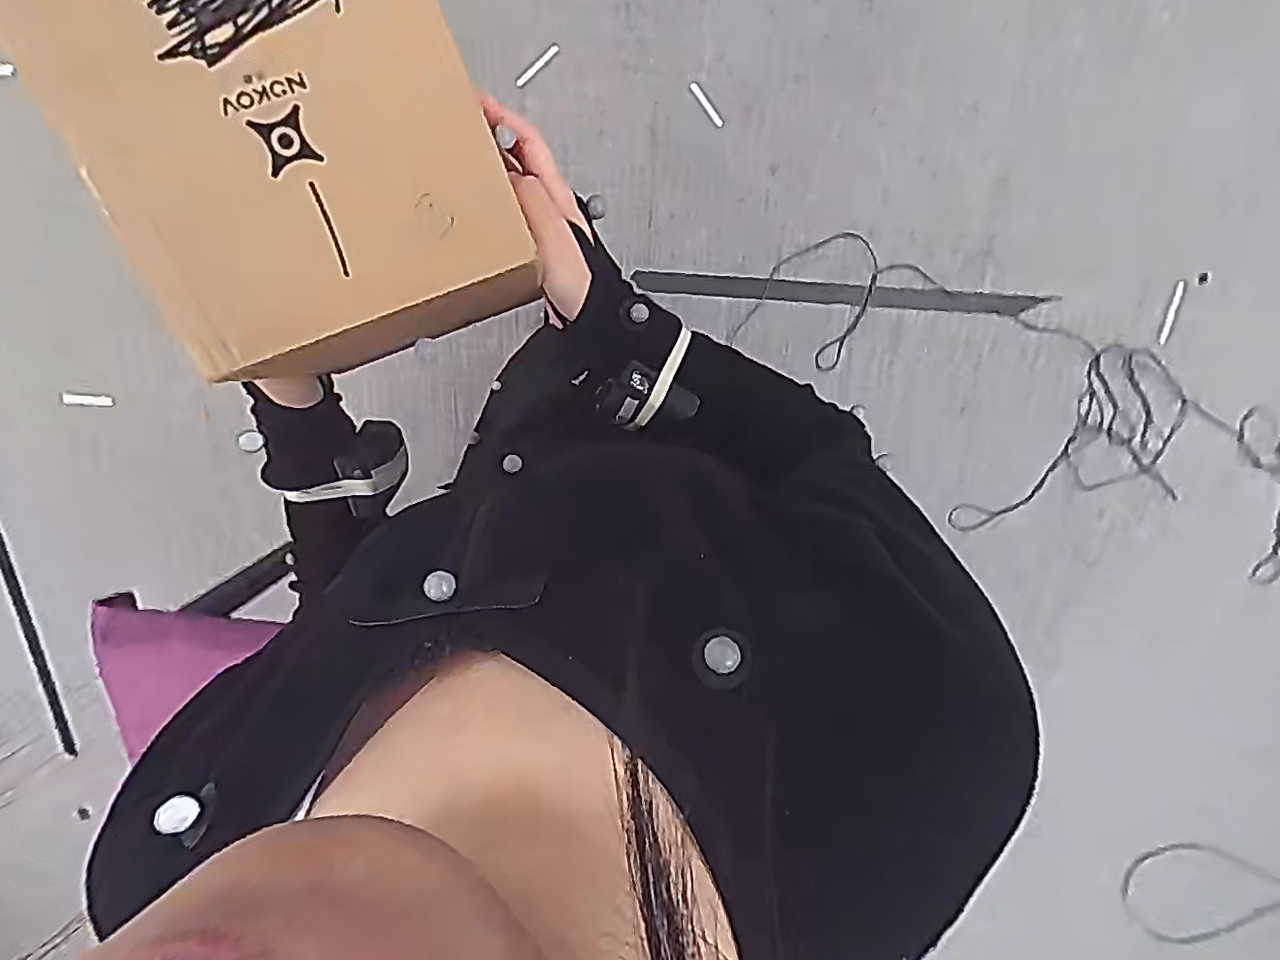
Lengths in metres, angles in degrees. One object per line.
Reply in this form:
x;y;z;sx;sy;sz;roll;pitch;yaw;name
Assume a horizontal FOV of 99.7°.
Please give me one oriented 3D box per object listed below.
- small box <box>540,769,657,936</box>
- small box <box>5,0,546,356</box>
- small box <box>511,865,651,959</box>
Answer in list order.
-0.060;0.591;0.856;0.168;0.176;0.179;3;108;3;small box
-0.161;-0.177;0.304;0.168;0.176;0.179;-21;106;-4;small box
-0.072;0.648;0.702;0.168;0.176;0.179;1;109;3;small box
